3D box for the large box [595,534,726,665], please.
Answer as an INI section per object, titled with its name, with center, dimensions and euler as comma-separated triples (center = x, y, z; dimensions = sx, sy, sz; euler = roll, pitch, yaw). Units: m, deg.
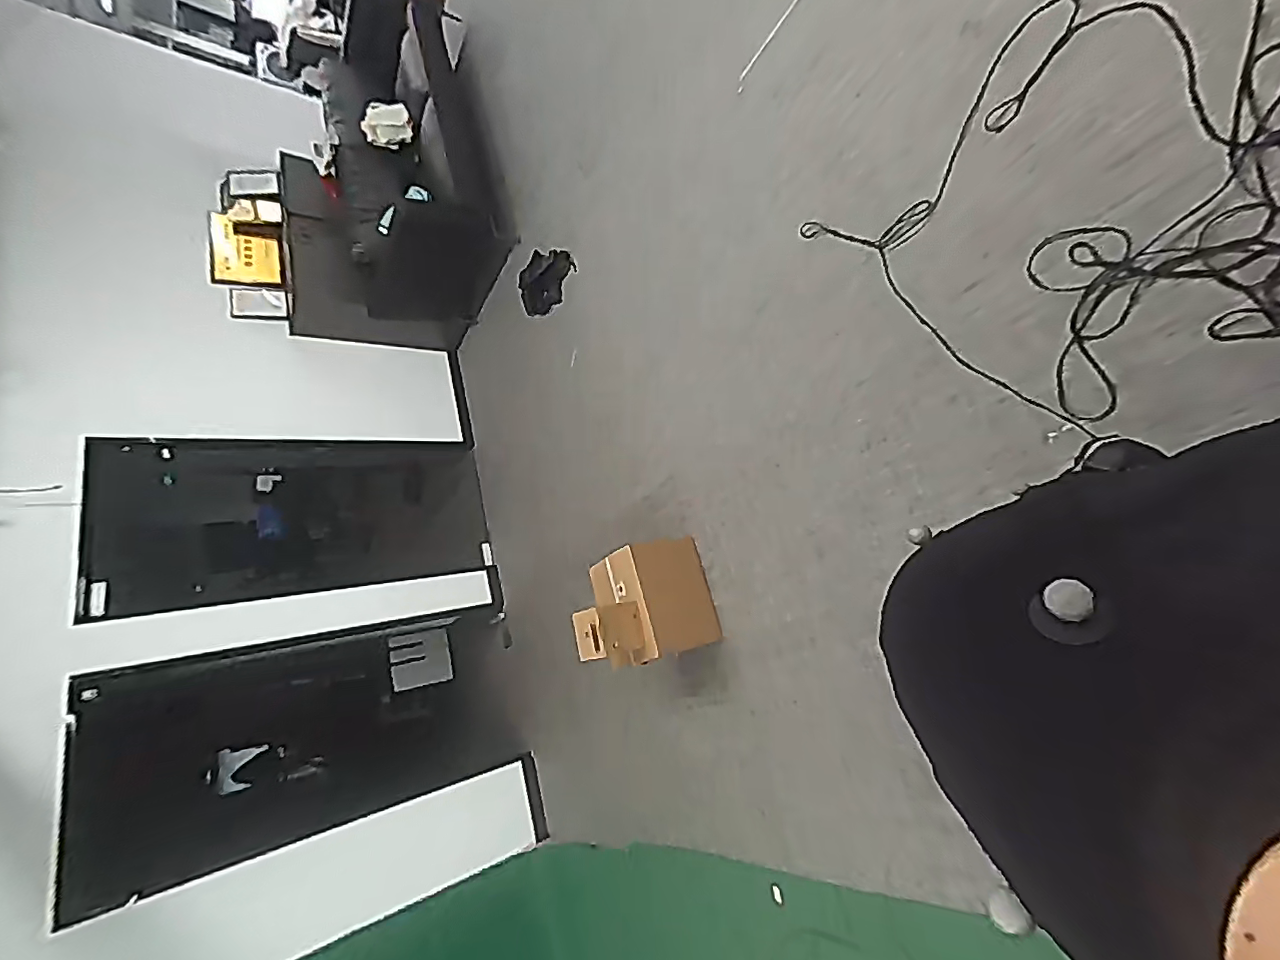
[large box]
center = 0.073, 0.453, 2.070
dimensions = 0.320, 0.320, 0.408
euler = -37, 62, 47
